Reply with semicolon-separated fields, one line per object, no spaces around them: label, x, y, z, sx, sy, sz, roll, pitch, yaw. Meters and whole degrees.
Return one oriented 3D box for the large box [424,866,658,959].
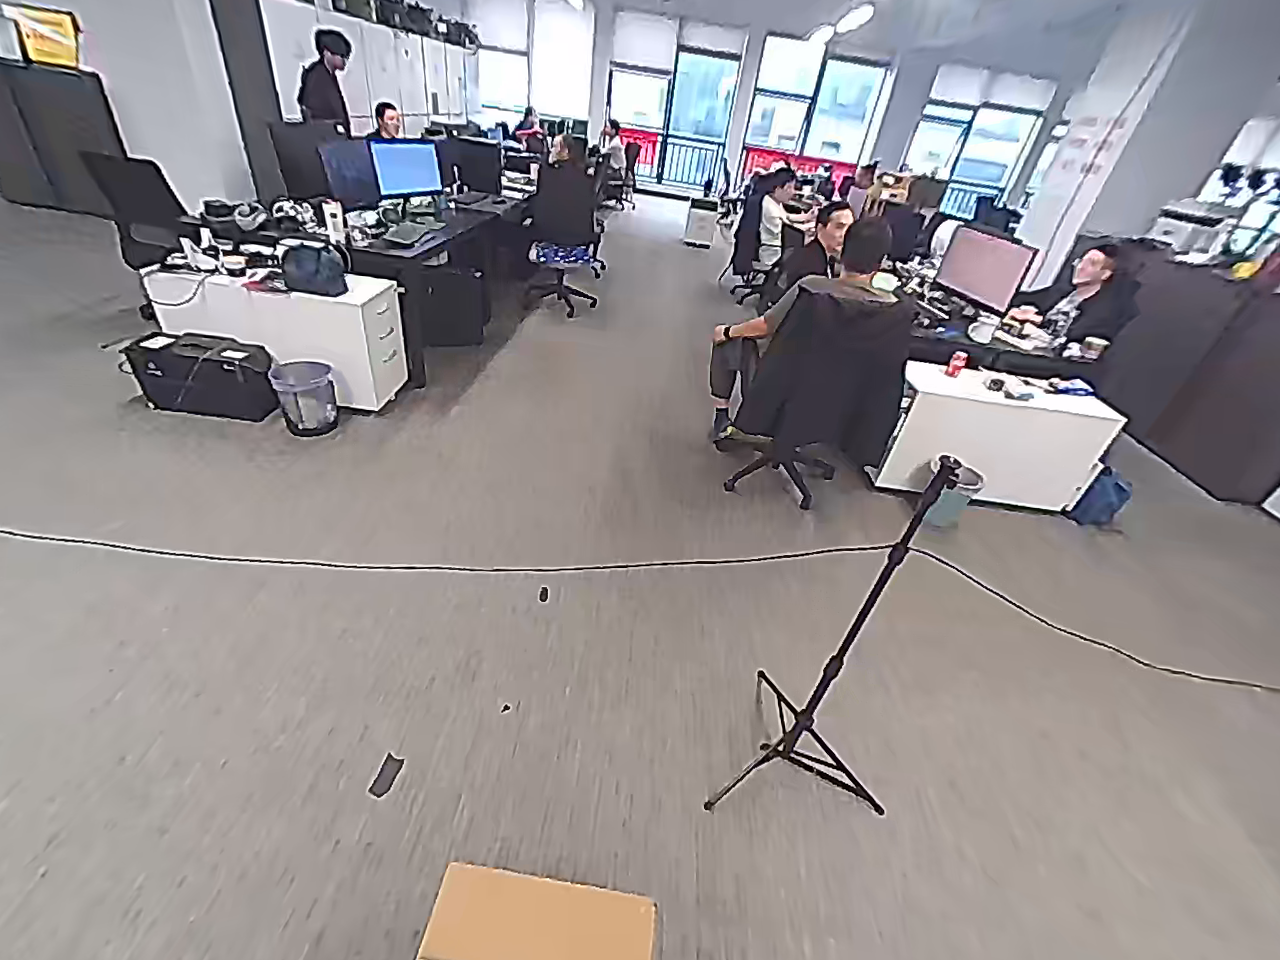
large box;-0.198;0.977;0.992;0.408;0.320;0.320;11;35;0
